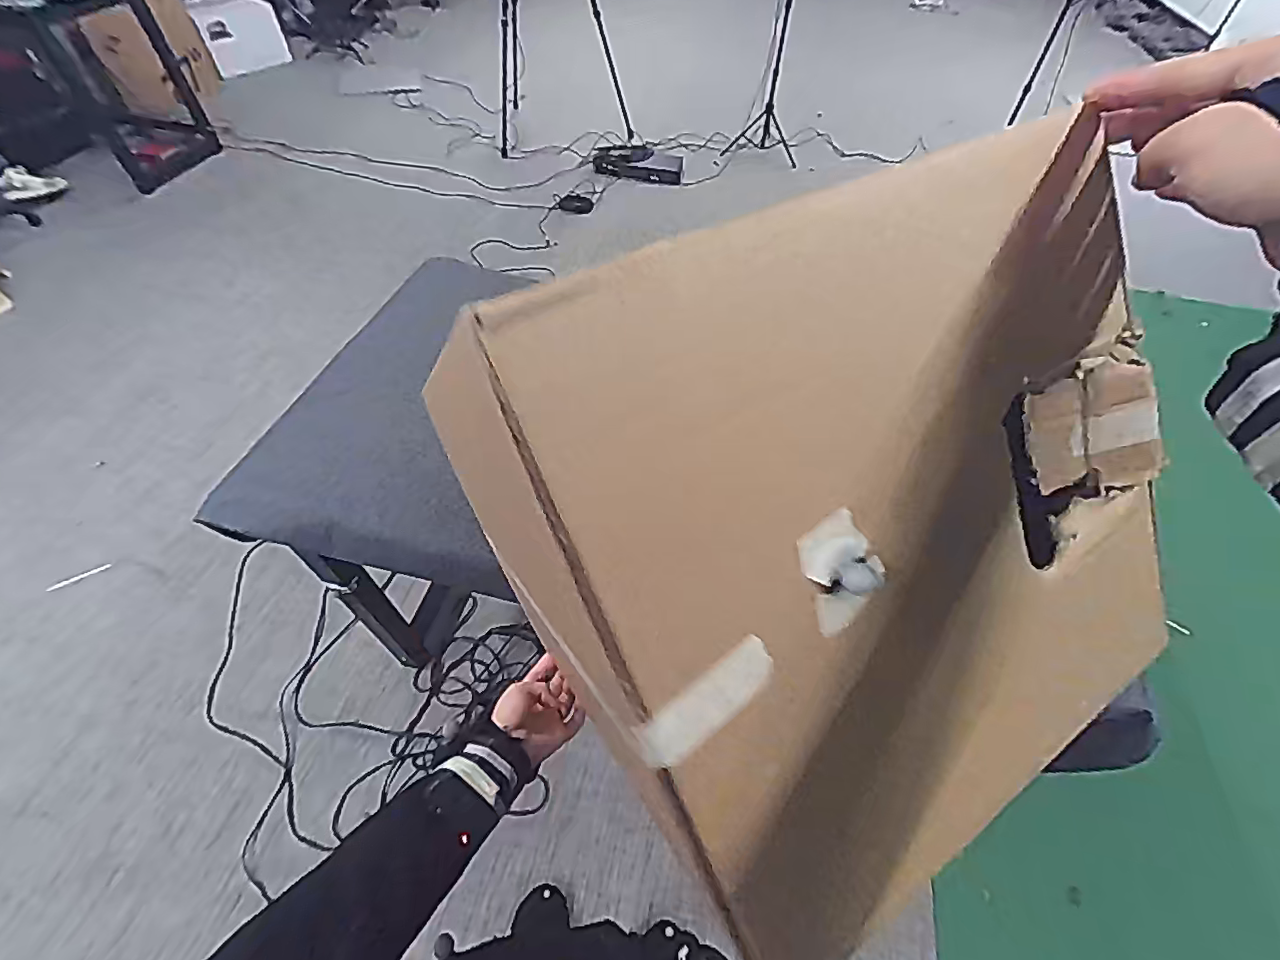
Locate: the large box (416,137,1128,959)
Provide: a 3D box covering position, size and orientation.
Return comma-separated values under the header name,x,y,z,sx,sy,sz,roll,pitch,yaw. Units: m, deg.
name,x,y,z,sx,sy,sz,roll,pitch,yaw
large box,0.053,0.011,0.426,0.320,0.320,0.408,-28,17,-21
